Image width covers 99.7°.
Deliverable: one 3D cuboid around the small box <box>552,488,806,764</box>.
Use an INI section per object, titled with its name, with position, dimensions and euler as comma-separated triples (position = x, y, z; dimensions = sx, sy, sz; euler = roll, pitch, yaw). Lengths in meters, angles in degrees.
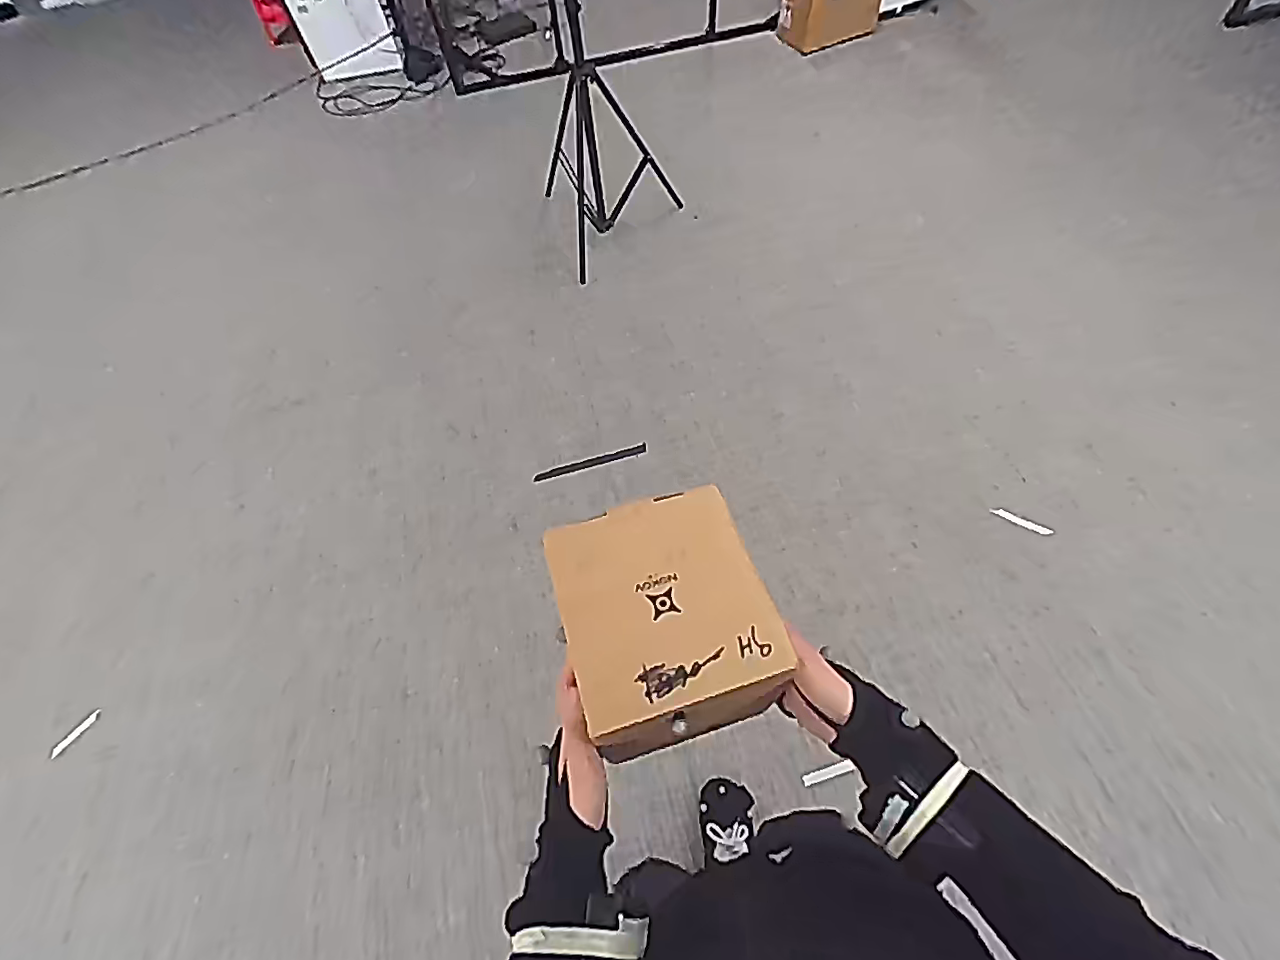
[small box]
position = 0.025, 0.139, 0.503
dimensions = 0.168, 0.176, 0.179
euler = -16, 57, -8
